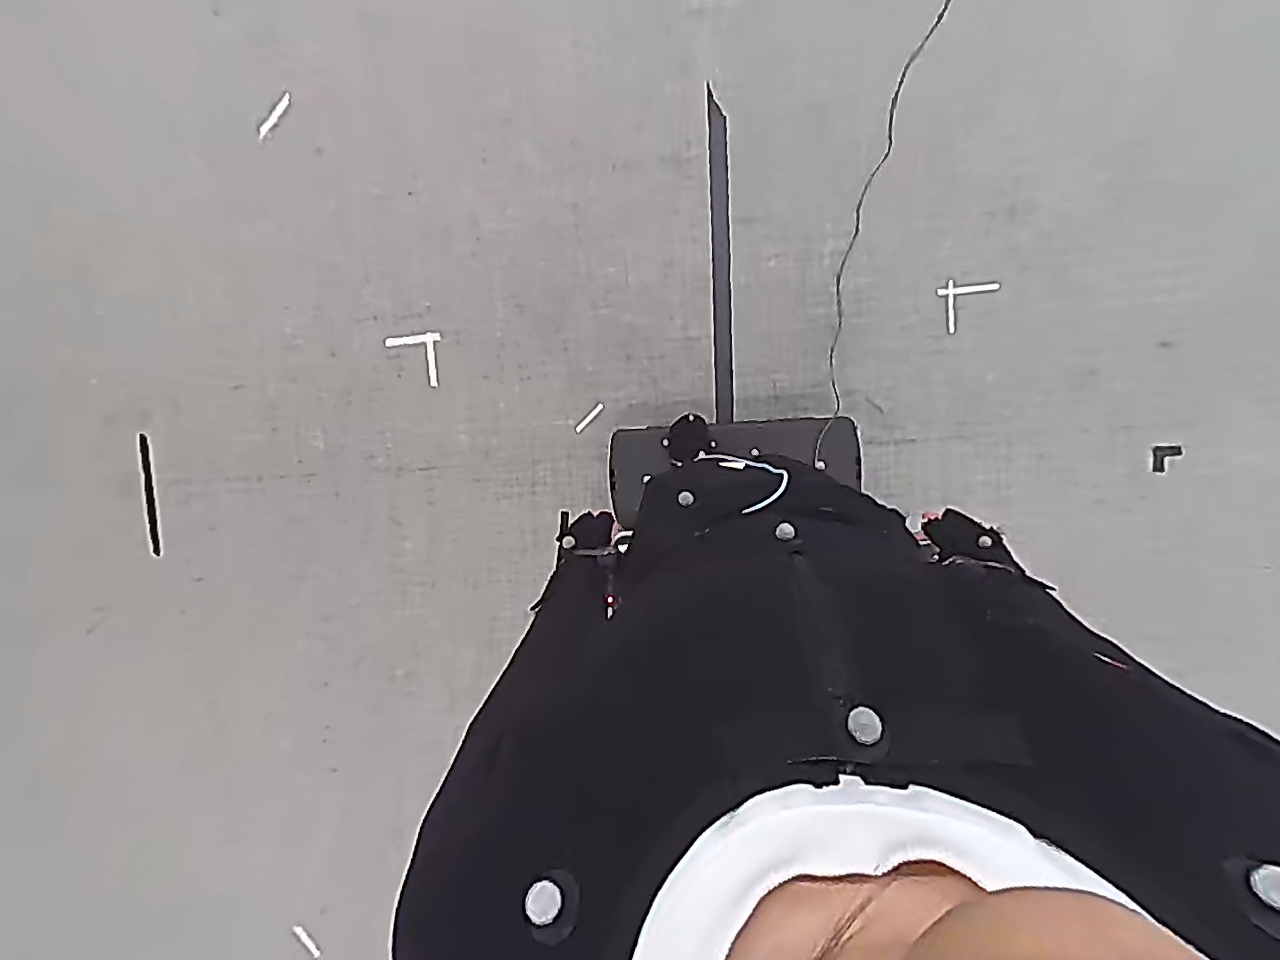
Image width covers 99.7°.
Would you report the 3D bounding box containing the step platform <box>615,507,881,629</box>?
[{"bbox_3d":[0.274,0.236,1.448,0.684,0.204,0.286,-3,92,8],"label":"step platform"}]
